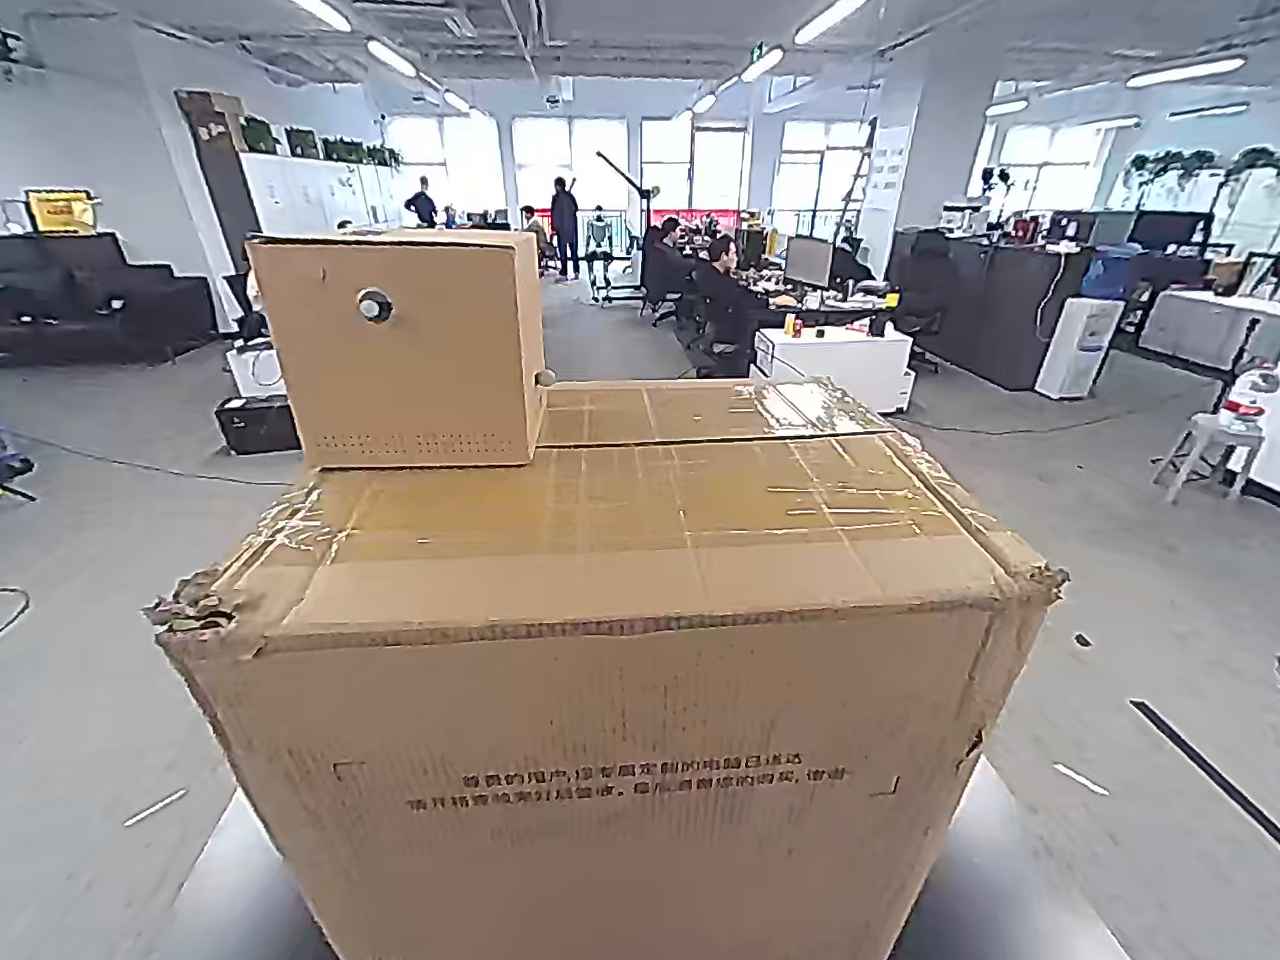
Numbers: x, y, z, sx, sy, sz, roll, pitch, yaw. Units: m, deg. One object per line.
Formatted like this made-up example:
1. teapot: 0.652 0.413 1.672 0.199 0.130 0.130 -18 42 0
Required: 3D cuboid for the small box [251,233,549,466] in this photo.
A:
1. small box: -0.177 -0.118 0.465 0.179 0.176 0.168 -1 27 -5
